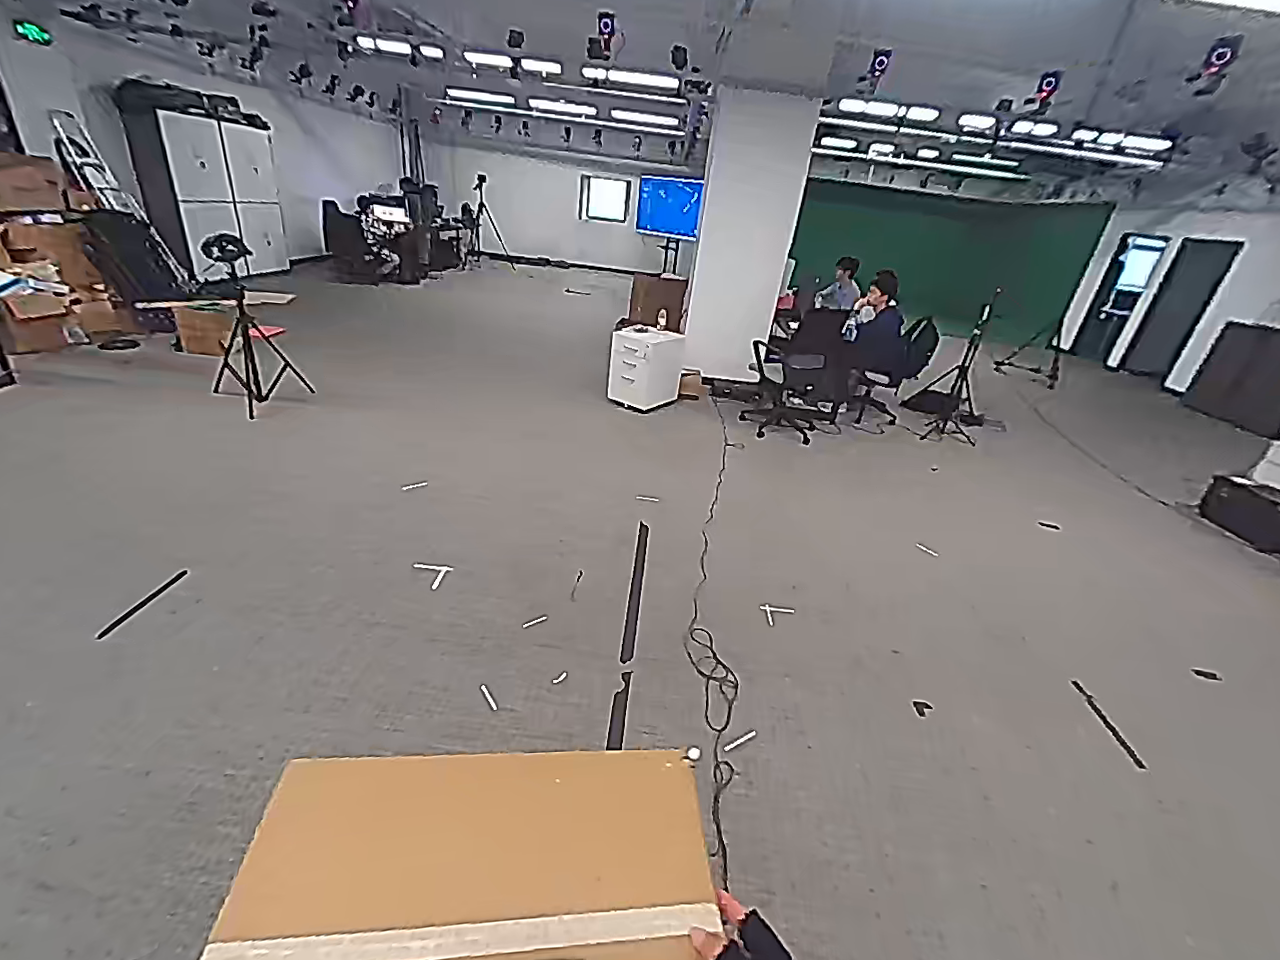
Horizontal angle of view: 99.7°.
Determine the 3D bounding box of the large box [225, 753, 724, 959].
[{"bbox_3d":[-0.149,0.503,0.531,0.408,0.320,0.320,4,33,-9],"label":"large box"}]
